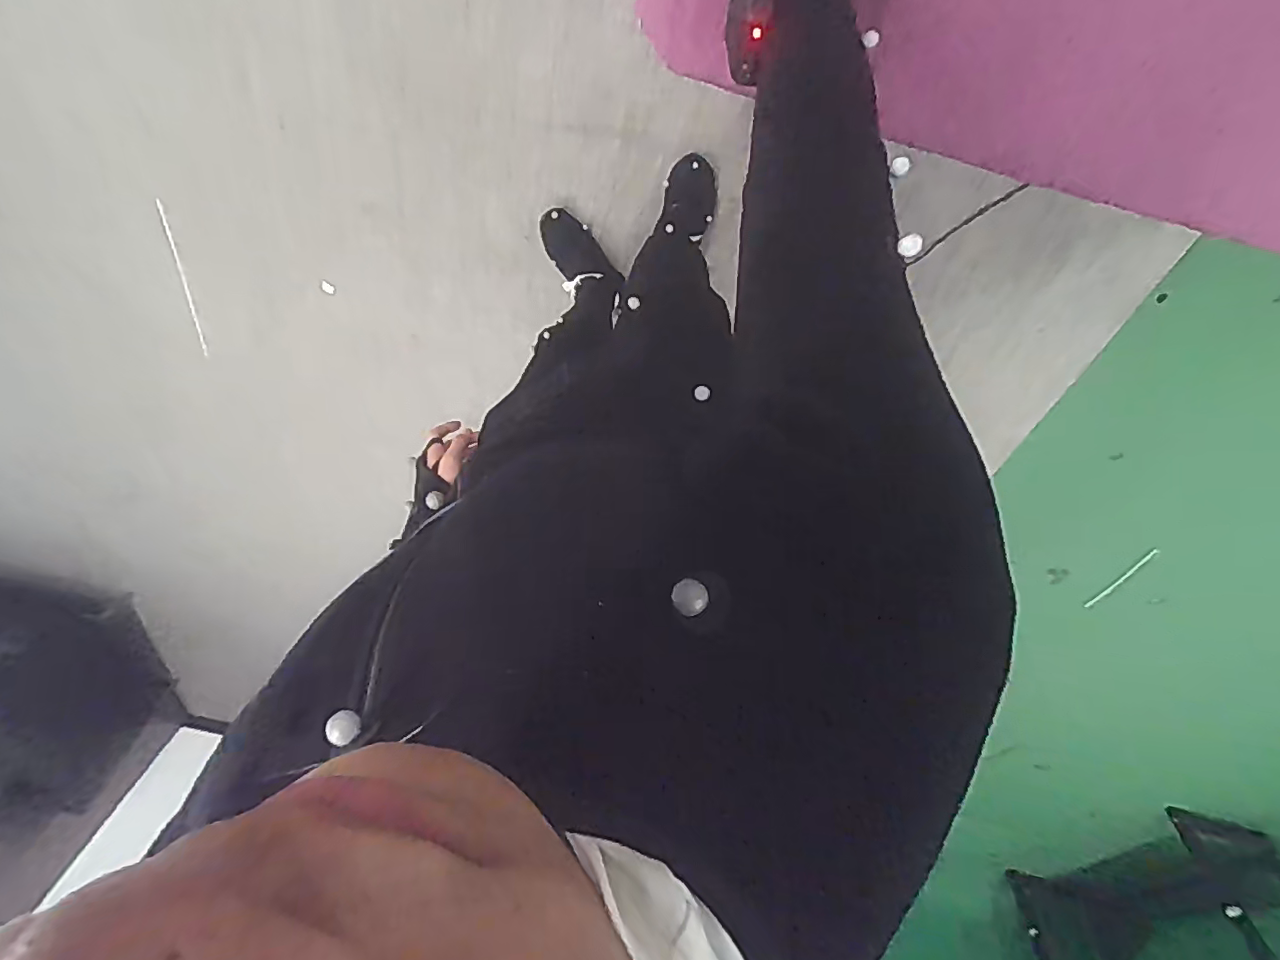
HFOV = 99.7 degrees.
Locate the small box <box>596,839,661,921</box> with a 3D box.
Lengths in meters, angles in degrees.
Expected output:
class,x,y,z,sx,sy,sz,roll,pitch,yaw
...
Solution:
class,x,y,z,sx,sy,sz,roll,pitch,yaw
small box,-0.035,1.342,1.816,0.168,0.176,0.179,19,127,-7
